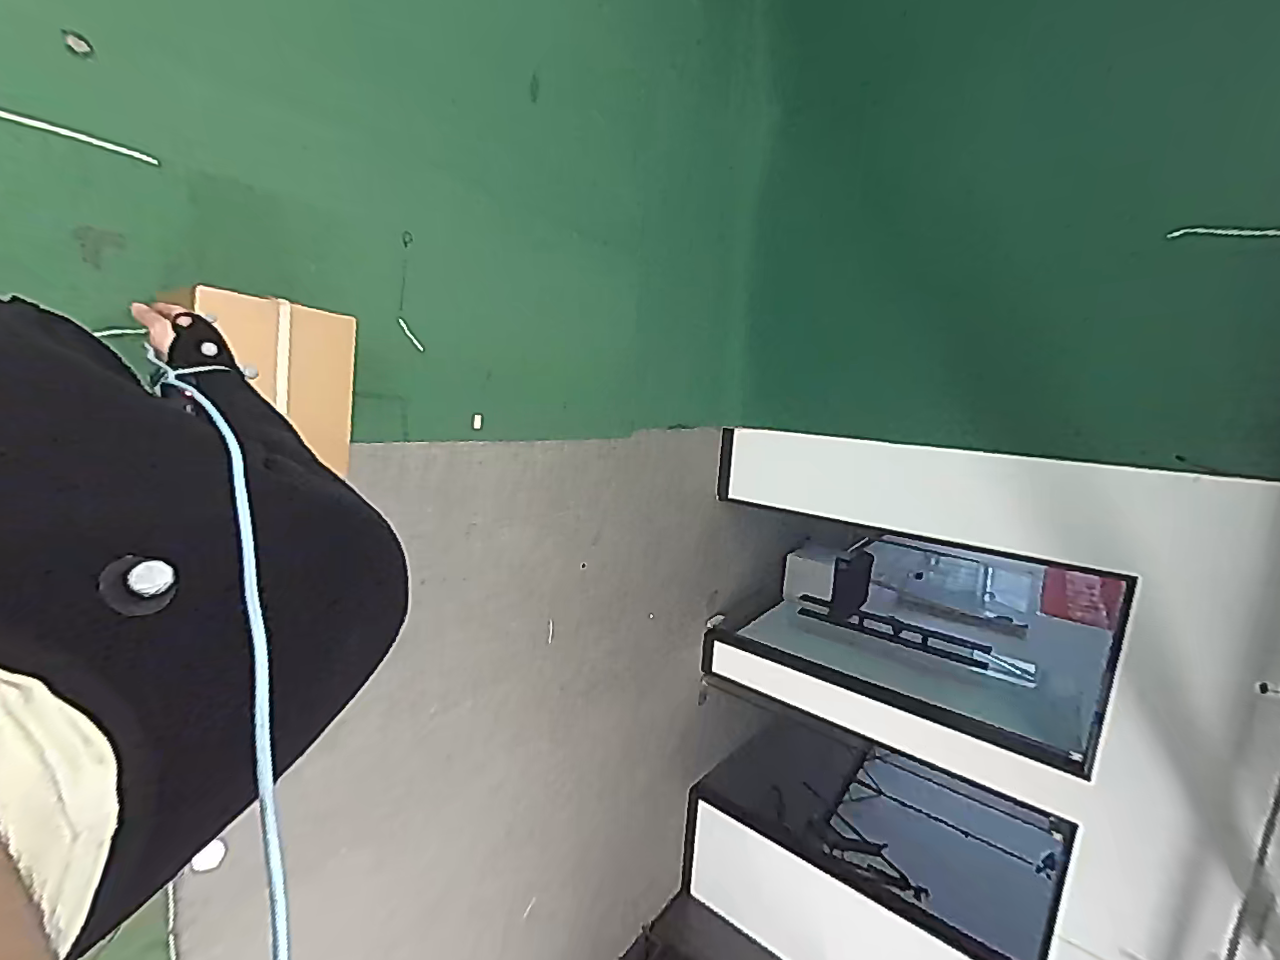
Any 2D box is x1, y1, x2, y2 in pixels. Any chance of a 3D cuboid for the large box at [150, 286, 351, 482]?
[{"bbox_3d":[-0.932,-0.224,1.299,0.320,0.320,0.408,-3,102,-53],"label":"large box"}]
